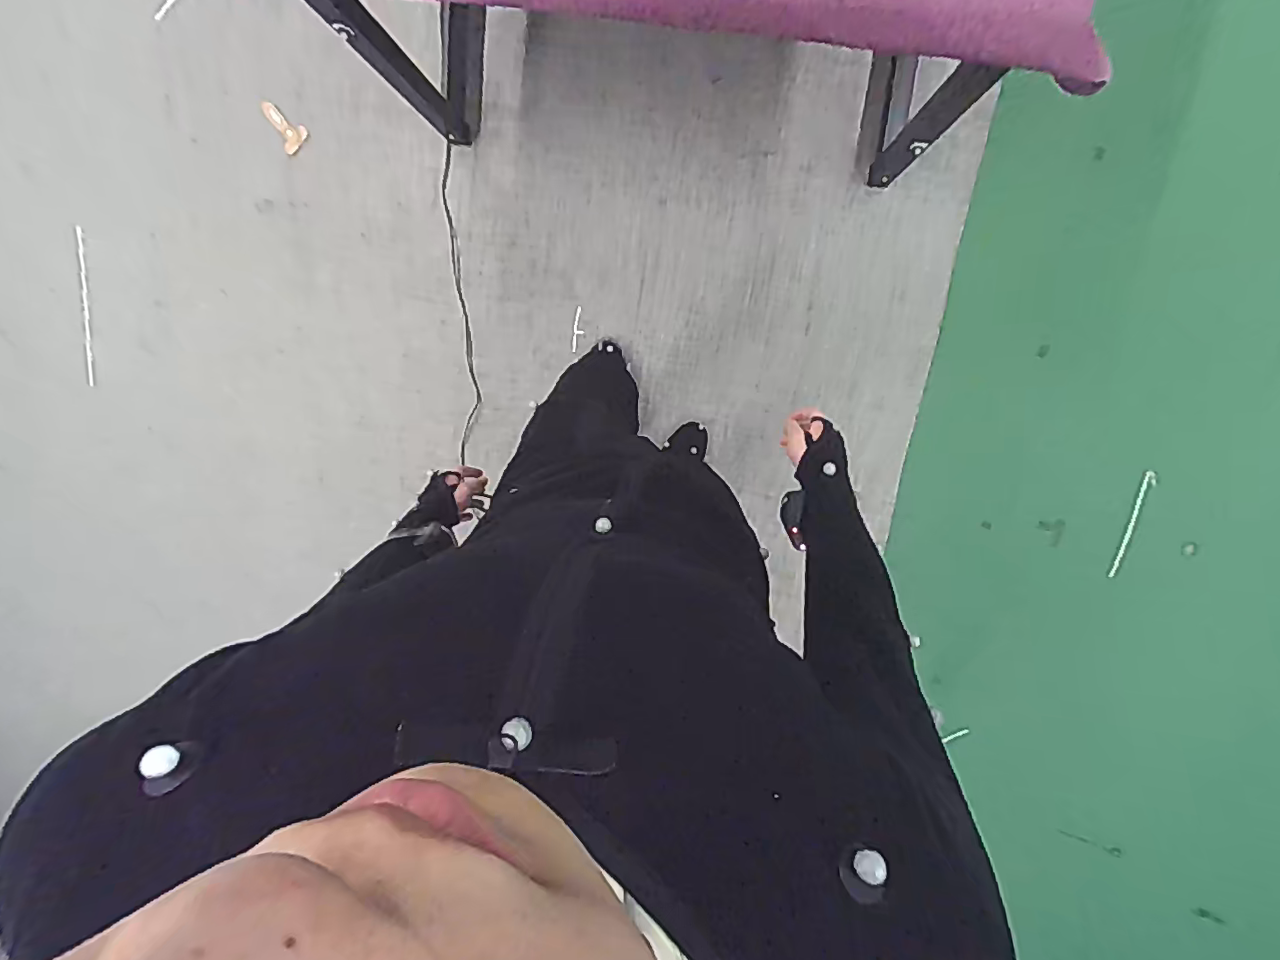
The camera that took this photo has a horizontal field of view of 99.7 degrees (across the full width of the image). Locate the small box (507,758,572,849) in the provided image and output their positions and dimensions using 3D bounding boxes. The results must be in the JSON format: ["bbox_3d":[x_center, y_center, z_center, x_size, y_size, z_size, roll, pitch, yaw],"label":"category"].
[{"bbox_3d":[-0.328,1.065,1.788,0.168,0.176,0.179,8,101,4],"label":"small box"}]
